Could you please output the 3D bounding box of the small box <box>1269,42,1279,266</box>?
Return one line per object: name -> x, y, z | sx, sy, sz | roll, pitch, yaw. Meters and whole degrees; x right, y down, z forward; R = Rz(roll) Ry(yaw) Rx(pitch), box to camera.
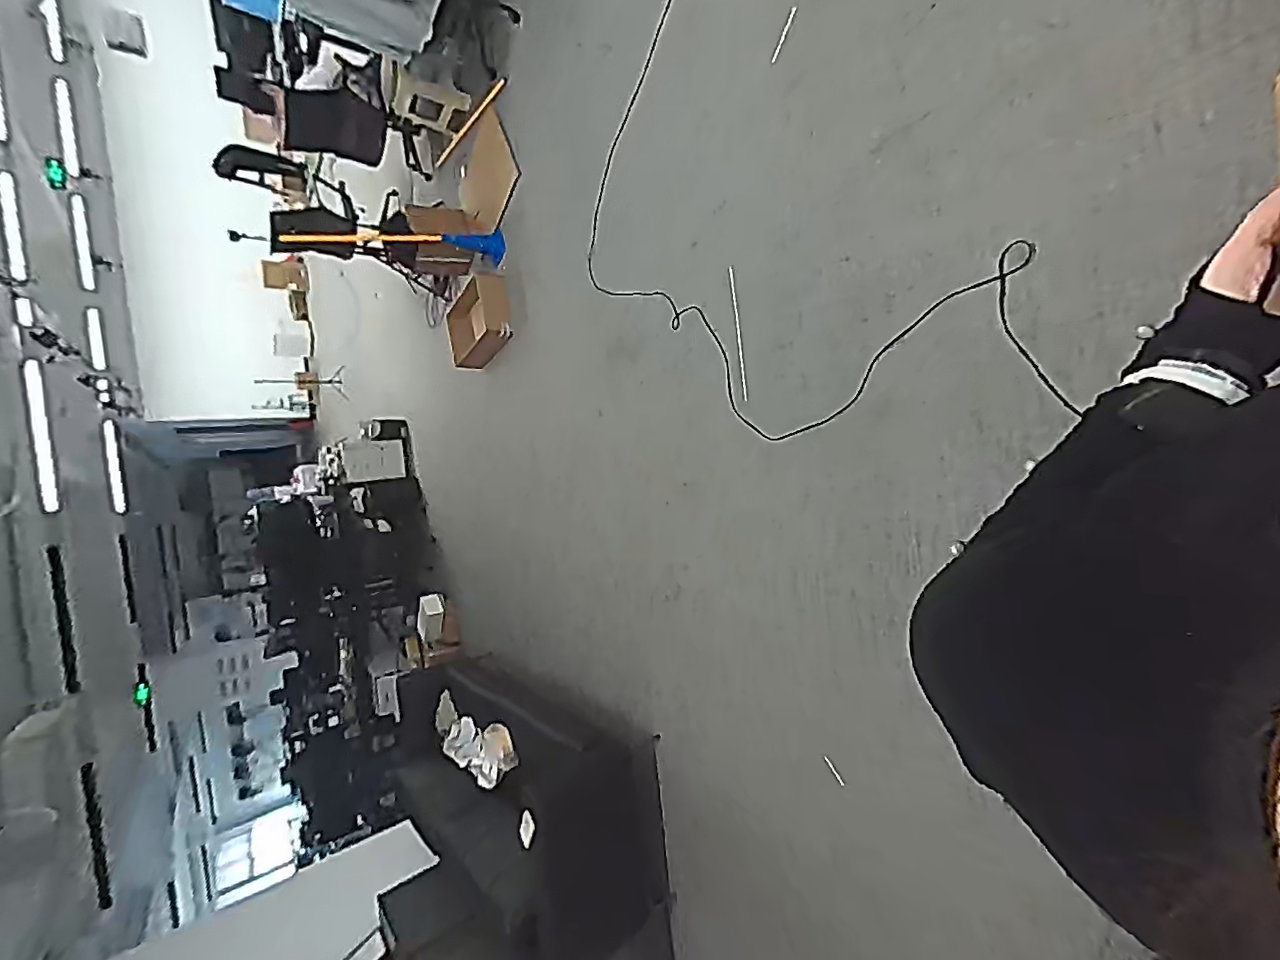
small box -> 0.490, -0.251, 0.293 | 0.168, 0.179, 0.176 | 4, 78, 35
